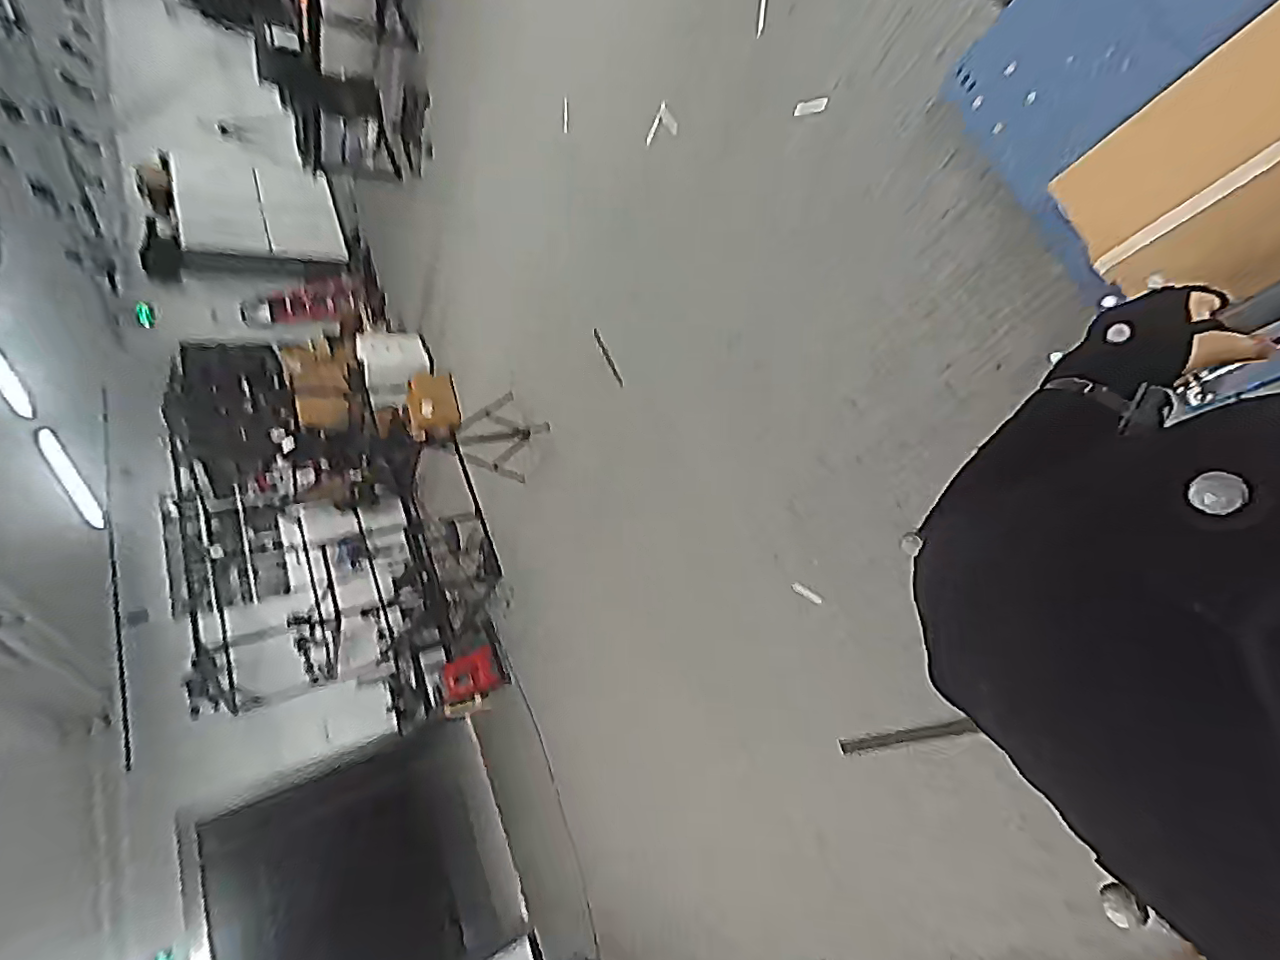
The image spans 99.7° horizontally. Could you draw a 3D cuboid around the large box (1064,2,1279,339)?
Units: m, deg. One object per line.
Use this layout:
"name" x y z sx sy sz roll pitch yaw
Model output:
"large box" 0.915 -0.435 0.726 0.408 0.320 0.320 -41 66 51
